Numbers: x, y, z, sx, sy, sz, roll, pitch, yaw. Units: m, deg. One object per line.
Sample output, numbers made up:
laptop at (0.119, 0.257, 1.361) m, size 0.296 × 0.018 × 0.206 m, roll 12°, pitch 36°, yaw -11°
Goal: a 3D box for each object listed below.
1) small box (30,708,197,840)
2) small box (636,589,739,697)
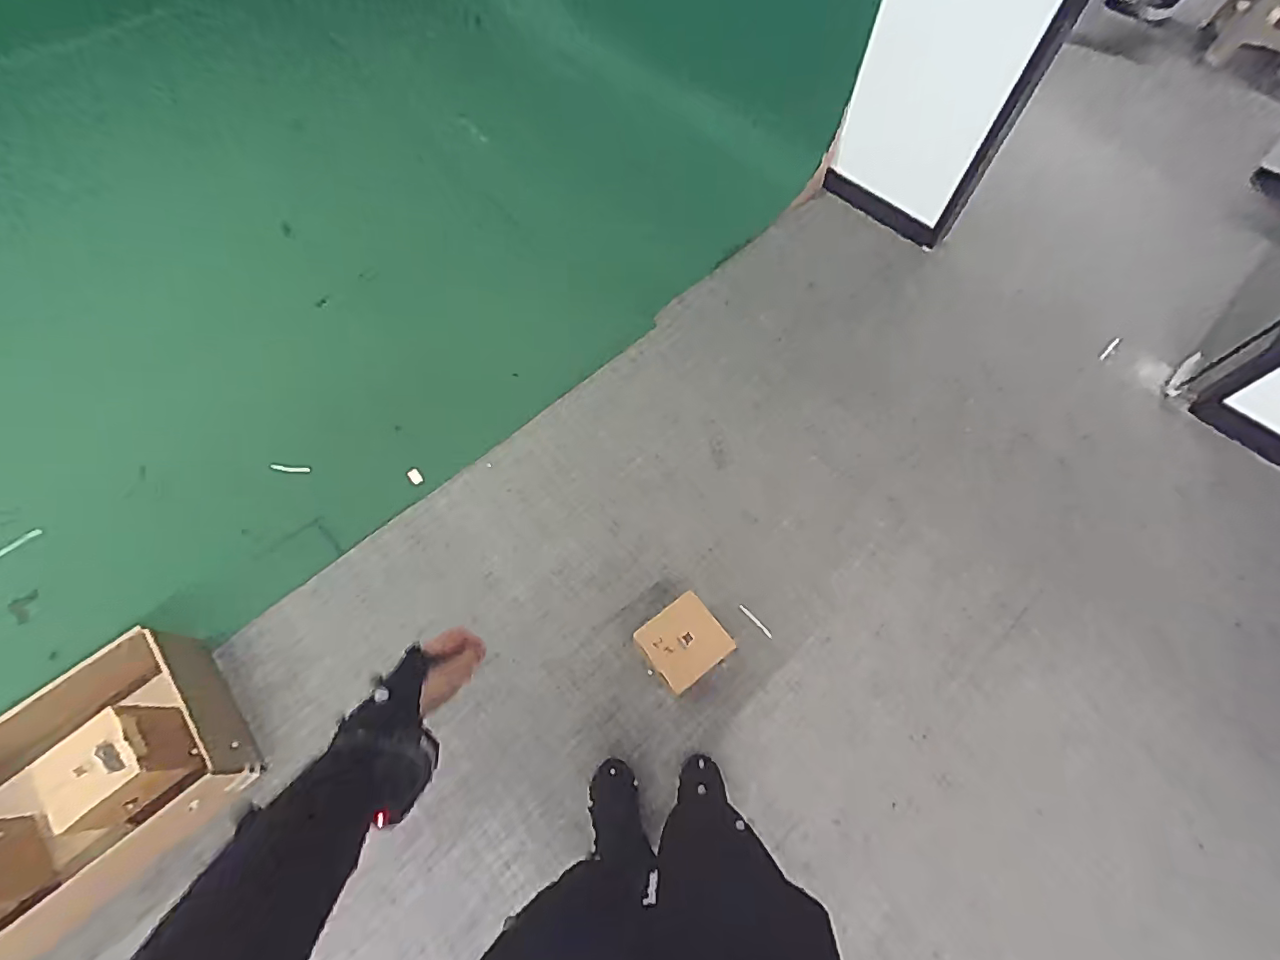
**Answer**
small box at (-1.091, 0.607, 1.141) m, size 0.179 × 0.176 × 0.168 m, roll -39°, pitch 71°, yaw -15°
small box at (0.105, 0.391, 1.284) m, size 0.179 × 0.176 × 0.168 m, roll -35°, pitch 69°, yaw -14°
